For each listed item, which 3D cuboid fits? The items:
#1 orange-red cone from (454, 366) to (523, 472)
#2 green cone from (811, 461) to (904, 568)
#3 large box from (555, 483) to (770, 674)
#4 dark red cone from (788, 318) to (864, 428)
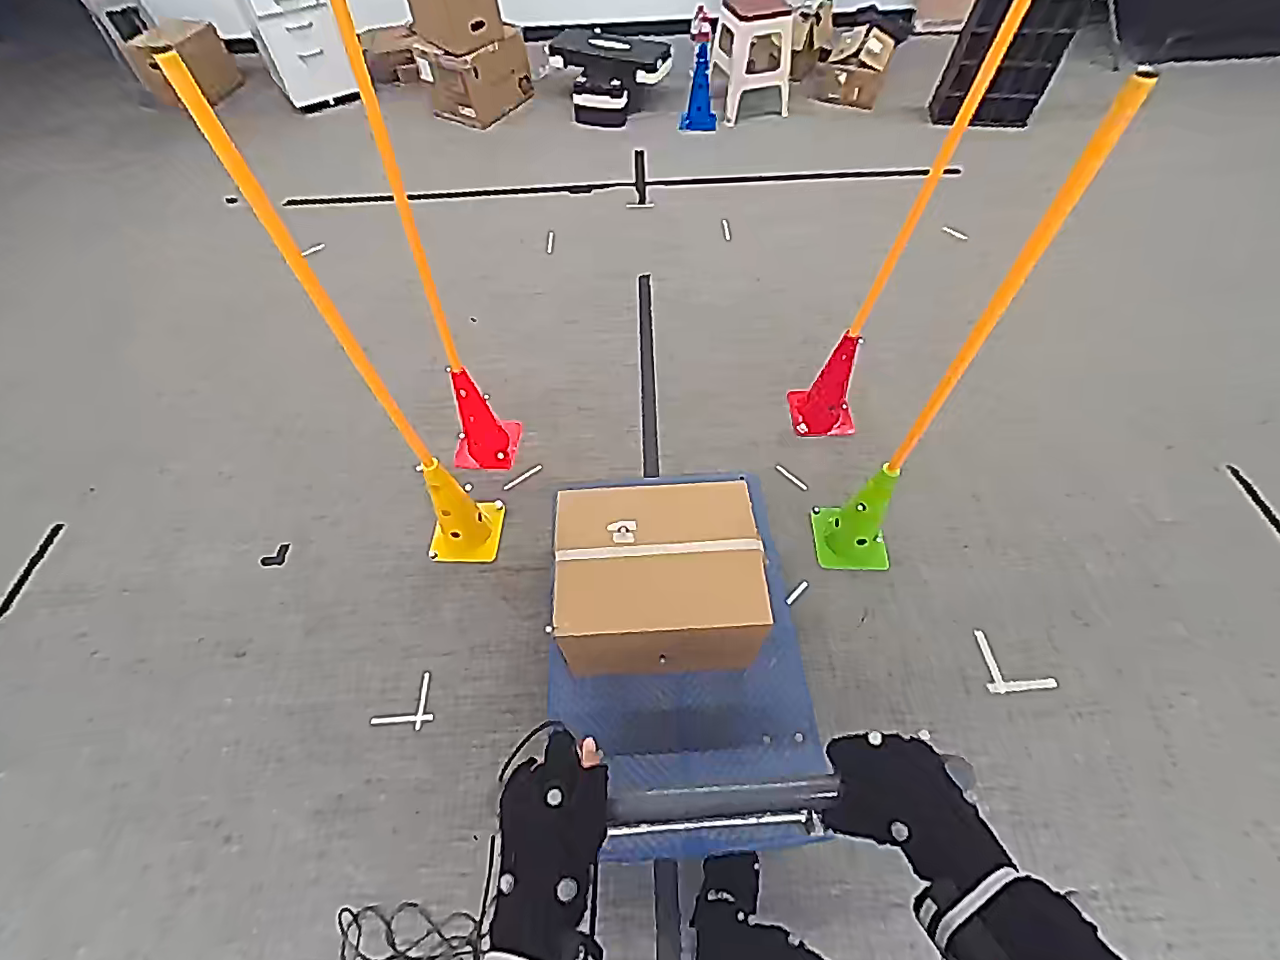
[{"bbox_3d":[-0.509,-0.212,1.675,0.198,0.360,0.199,4,55,4],"label":"orange-red cone"},{"bbox_3d":[0.614,0.072,1.451,0.202,0.368,0.200,1,57,1],"label":"green cone"},{"bbox_3d":[0.040,0.228,1.194,0.408,0.320,0.320,-4,57,0],"label":"large box"},{"bbox_3d":[0.618,-0.342,1.704,0.201,0.394,0.202,-1,57,-1],"label":"dark red cone"}]
